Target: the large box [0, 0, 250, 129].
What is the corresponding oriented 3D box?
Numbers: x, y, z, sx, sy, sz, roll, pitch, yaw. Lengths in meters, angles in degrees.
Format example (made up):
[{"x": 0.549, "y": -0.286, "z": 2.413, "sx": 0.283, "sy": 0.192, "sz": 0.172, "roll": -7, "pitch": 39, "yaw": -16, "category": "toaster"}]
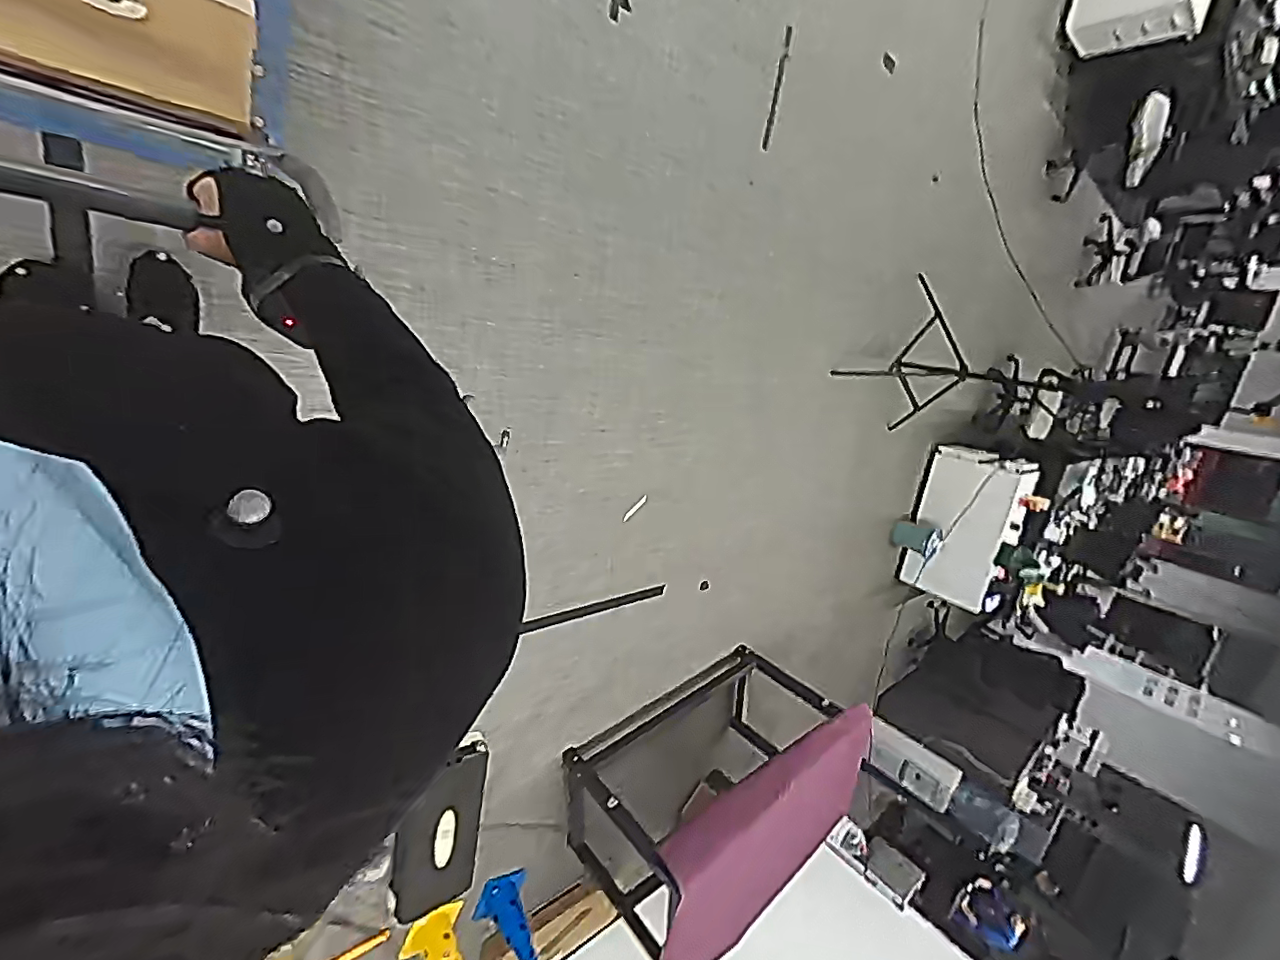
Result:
[{"x": -0.768, "y": -0.695, "z": 0.692, "sx": 0.408, "sy": 0.320, "sz": 0.320, "roll": -4, "pitch": 118, "yaw": -43, "category": "large box"}]
